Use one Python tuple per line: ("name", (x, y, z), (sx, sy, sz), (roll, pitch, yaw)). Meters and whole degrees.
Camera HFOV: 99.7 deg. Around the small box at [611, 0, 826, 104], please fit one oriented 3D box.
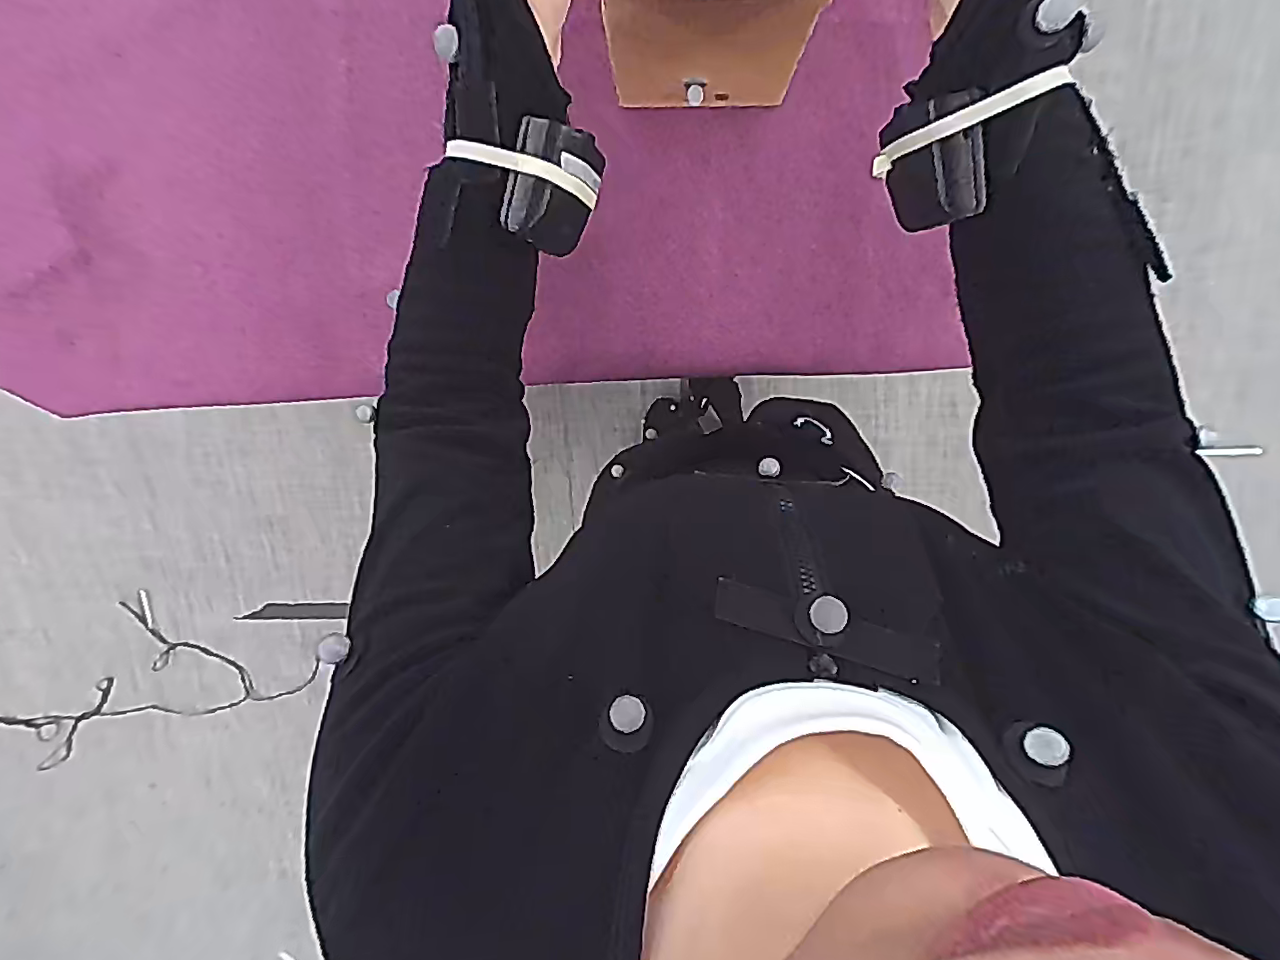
("small box", (0.061, -0.452, 0.453), (0.168, 0.176, 0.179), (2, 104, 3))
